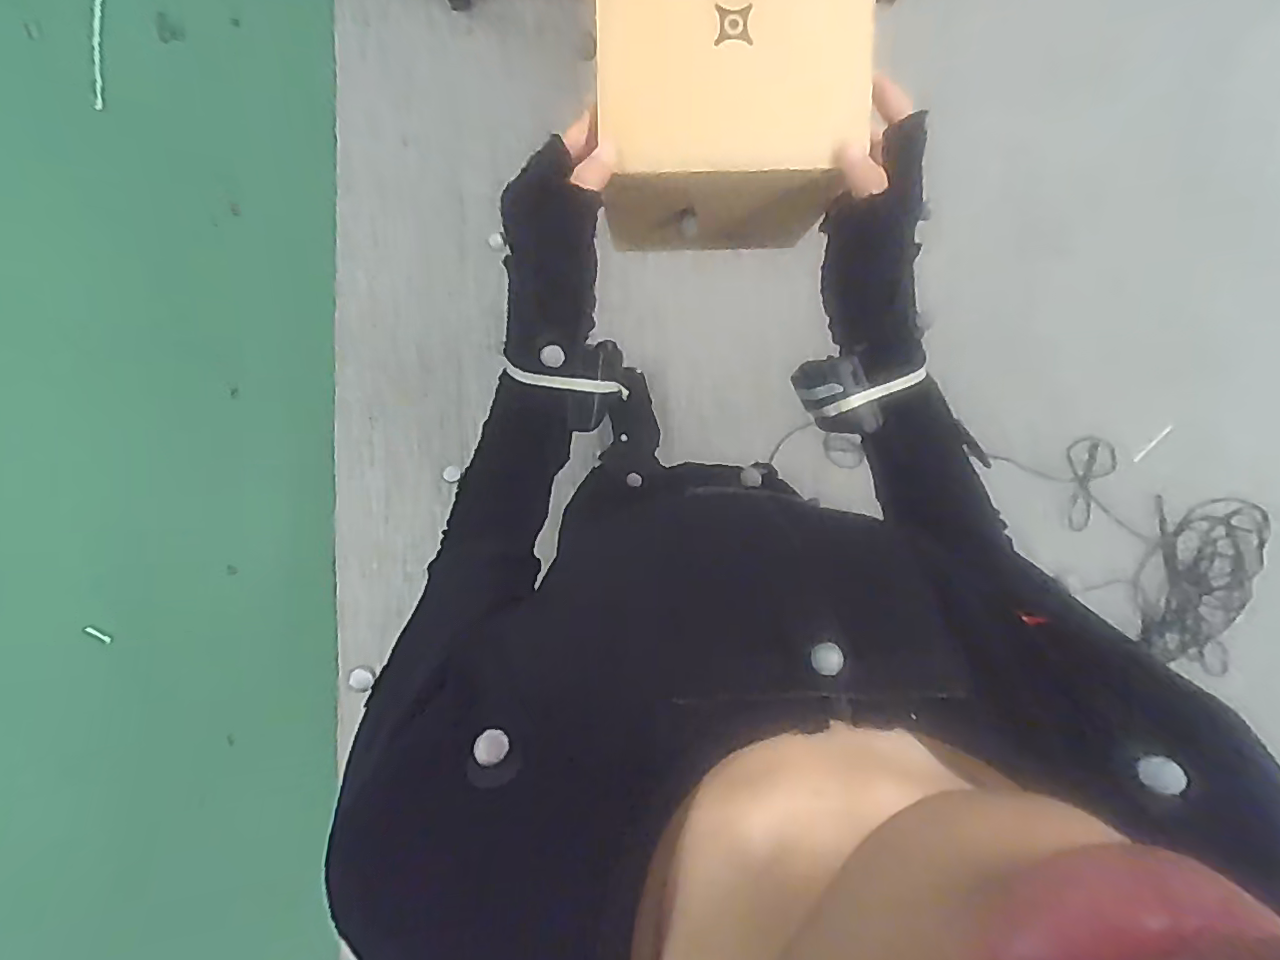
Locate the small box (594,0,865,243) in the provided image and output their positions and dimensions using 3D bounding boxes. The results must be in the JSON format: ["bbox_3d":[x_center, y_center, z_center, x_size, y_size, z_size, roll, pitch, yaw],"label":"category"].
[{"bbox_3d":[0.056,-0.290,0.408,0.168,0.176,0.179,-2,97,1],"label":"small box"}]
